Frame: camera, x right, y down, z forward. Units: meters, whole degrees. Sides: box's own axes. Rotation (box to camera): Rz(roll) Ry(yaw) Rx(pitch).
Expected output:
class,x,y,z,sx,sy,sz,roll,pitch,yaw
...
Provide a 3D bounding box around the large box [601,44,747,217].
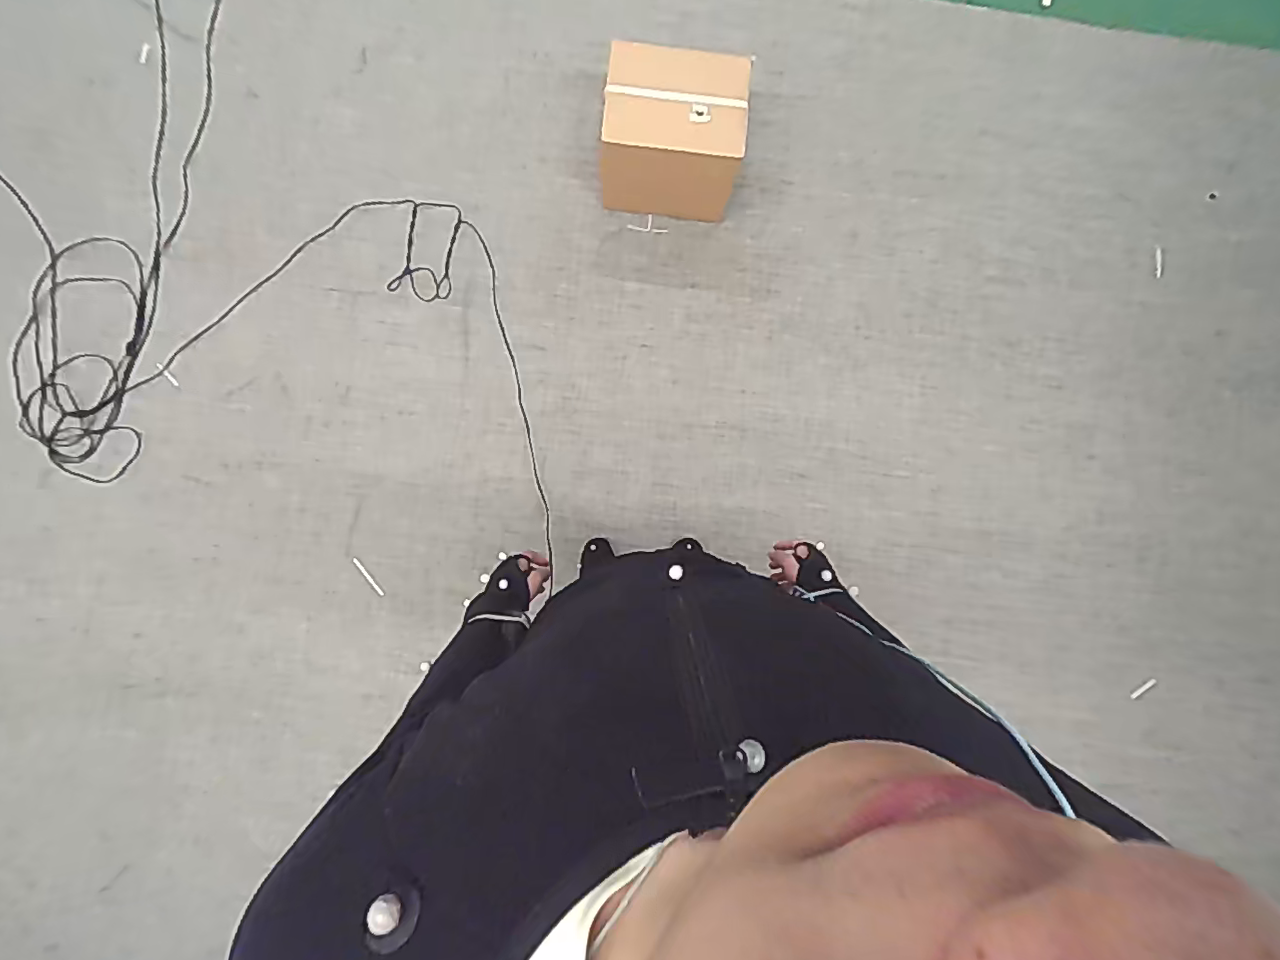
class,x,y,z,sx,sy,sz,roll,pitch,yaw
large box,0.090,-1.055,1.666,0.408,0.320,0.320,5,83,-2
